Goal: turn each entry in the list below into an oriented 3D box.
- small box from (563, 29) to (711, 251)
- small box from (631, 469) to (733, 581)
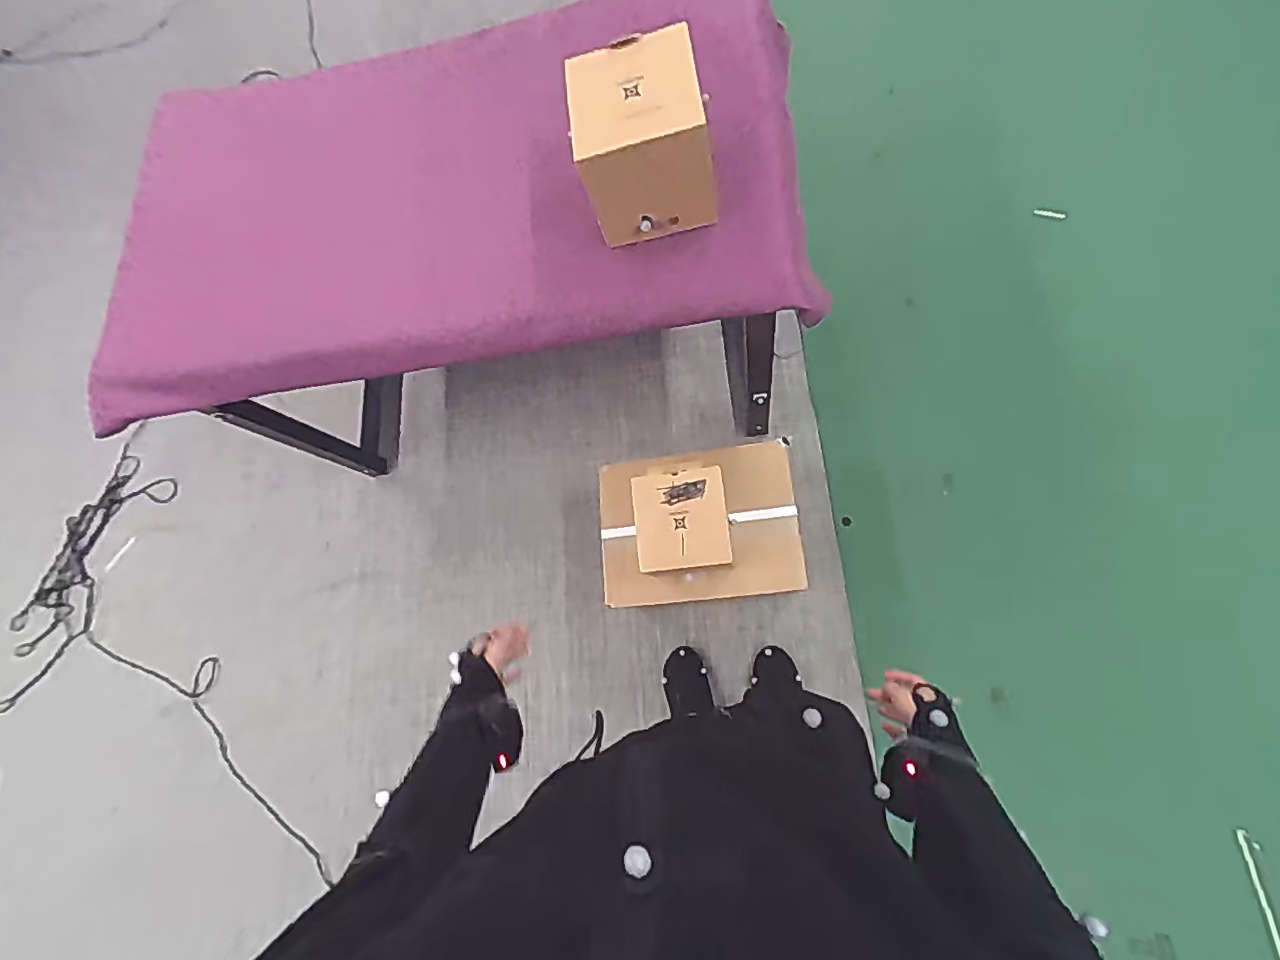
[{"bbox_3d":[0.001,-0.456,0.746,0.168,0.176,0.179,-10,72,10],"label":"small box"},{"bbox_3d":[0.083,0.092,1.021,0.168,0.176,0.179,-8,76,10],"label":"small box"}]
